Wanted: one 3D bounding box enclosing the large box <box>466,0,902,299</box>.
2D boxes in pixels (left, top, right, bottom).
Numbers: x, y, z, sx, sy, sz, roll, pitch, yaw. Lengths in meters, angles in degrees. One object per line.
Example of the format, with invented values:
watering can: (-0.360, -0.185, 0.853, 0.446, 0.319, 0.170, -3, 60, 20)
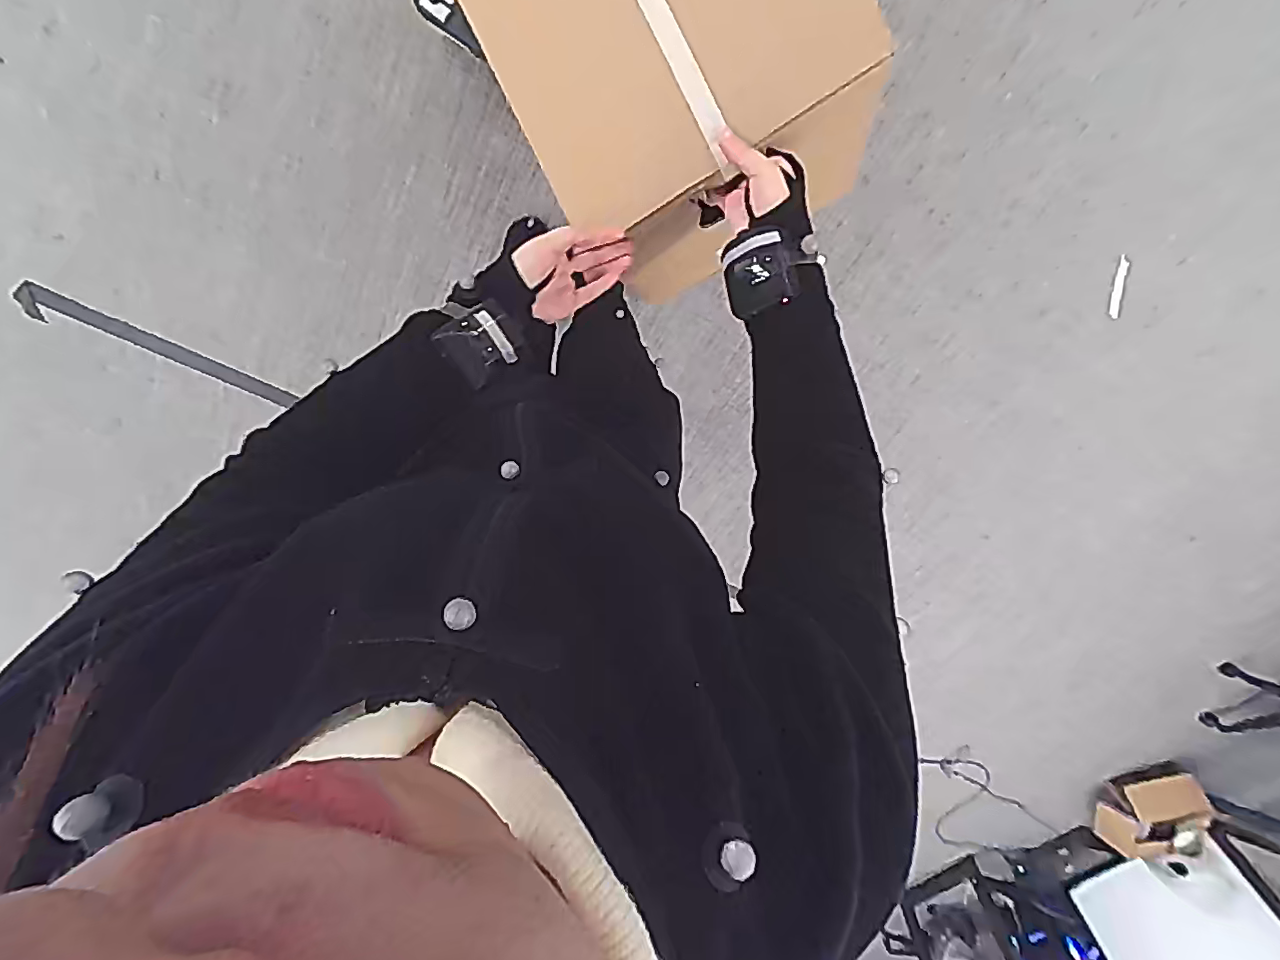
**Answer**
large box: (0.040, -0.485, 0.624, 0.320, 0.320, 0.408, -26, 91, 18)
